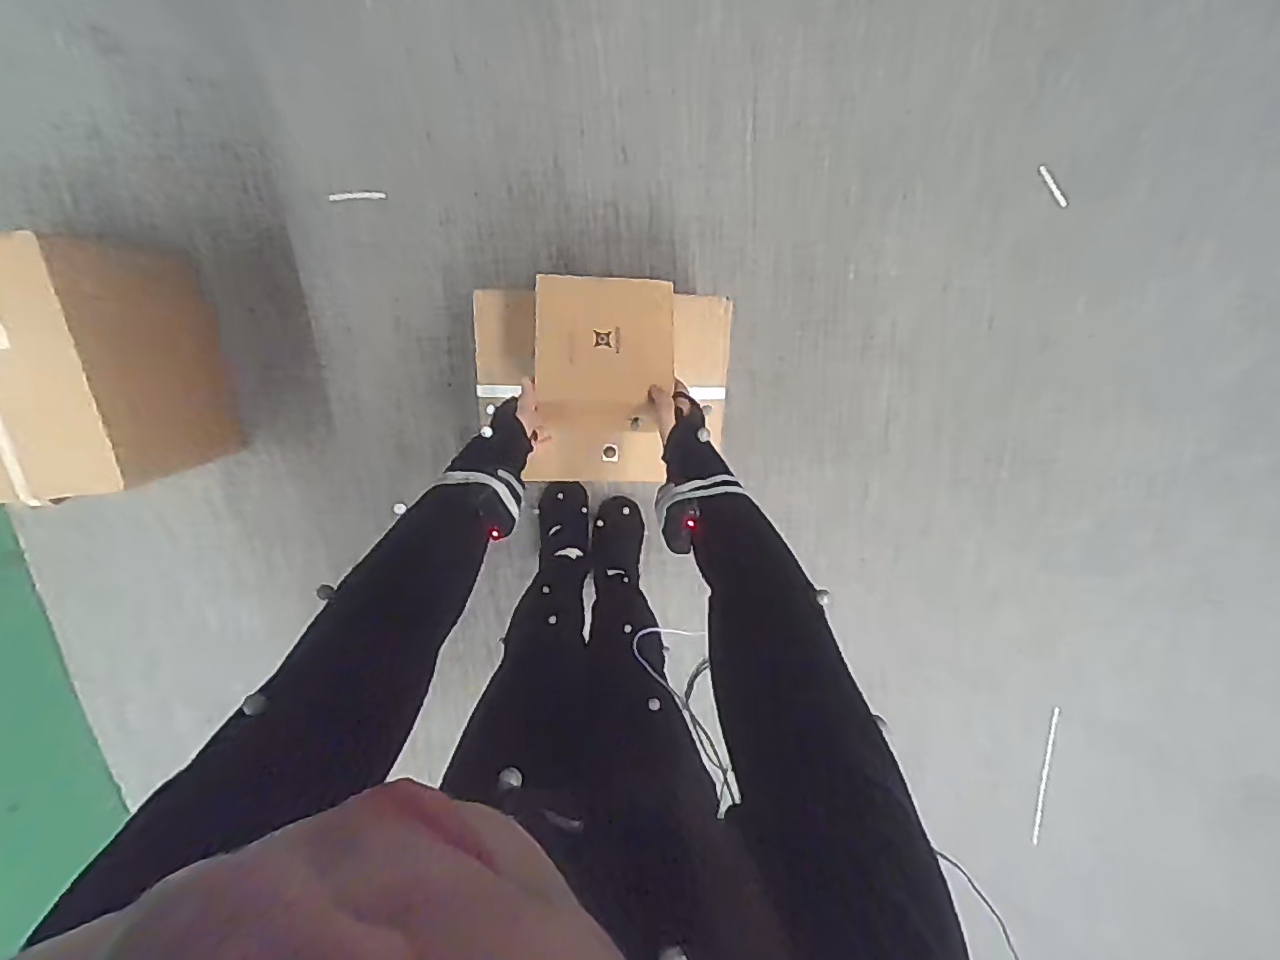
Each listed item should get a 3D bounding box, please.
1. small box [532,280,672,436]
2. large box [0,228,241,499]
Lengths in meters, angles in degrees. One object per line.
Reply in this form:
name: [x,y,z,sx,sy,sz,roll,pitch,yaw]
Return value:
small box: [-0.055,-0.160,0.759,0.179,0.176,0.168,1,82,-6]
large box: [-1.024,-0.200,0.979,0.320,0.320,0.408,-5,105,-2]
